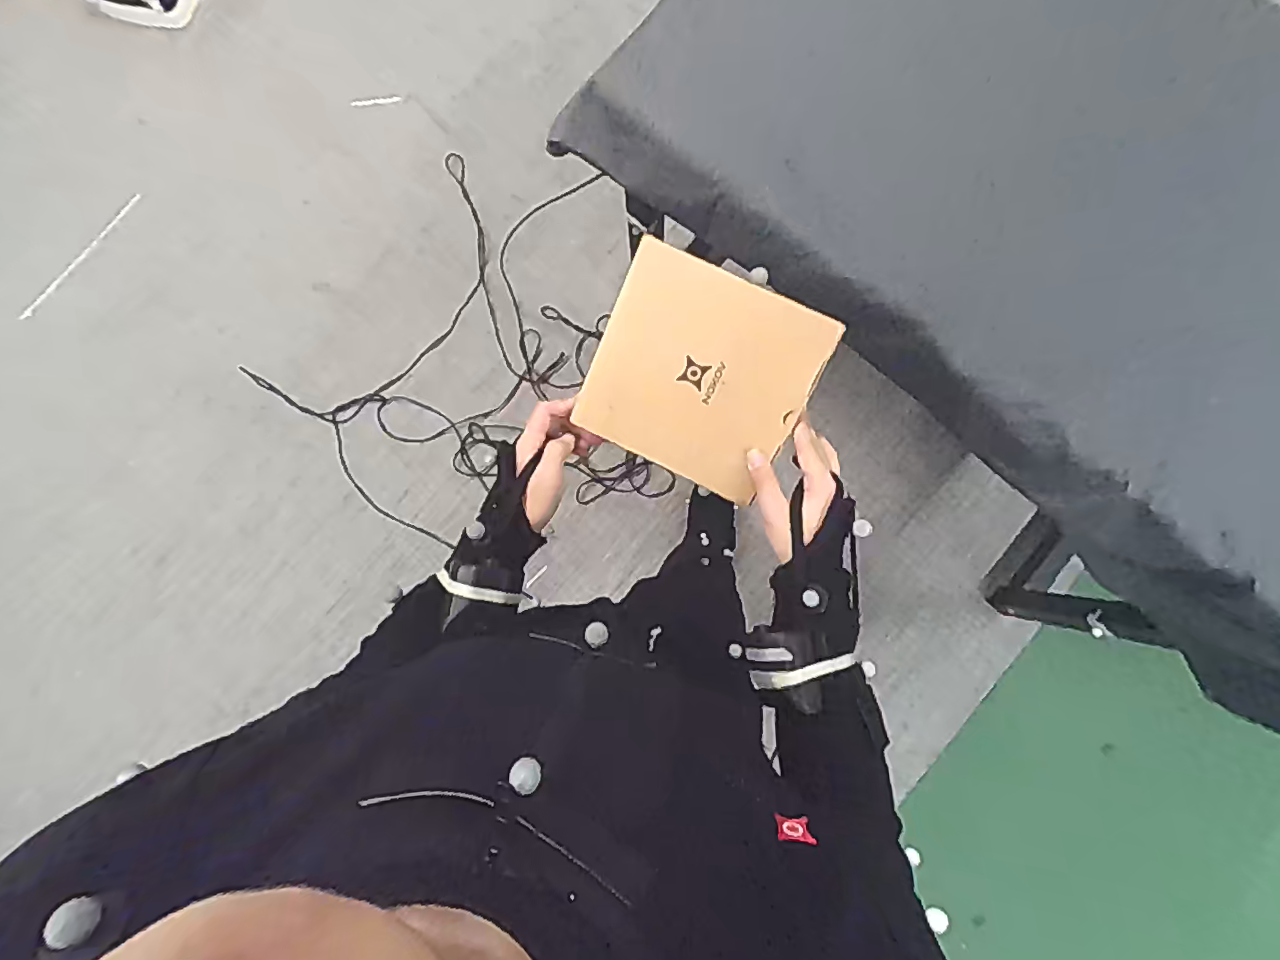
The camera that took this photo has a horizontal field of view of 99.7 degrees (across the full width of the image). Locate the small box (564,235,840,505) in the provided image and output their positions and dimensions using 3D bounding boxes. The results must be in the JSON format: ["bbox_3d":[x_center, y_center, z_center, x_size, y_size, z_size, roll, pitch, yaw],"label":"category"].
[{"bbox_3d":[0.057,-0.101,0.515,0.179,0.176,0.168,26,106,4],"label":"small box"}]
